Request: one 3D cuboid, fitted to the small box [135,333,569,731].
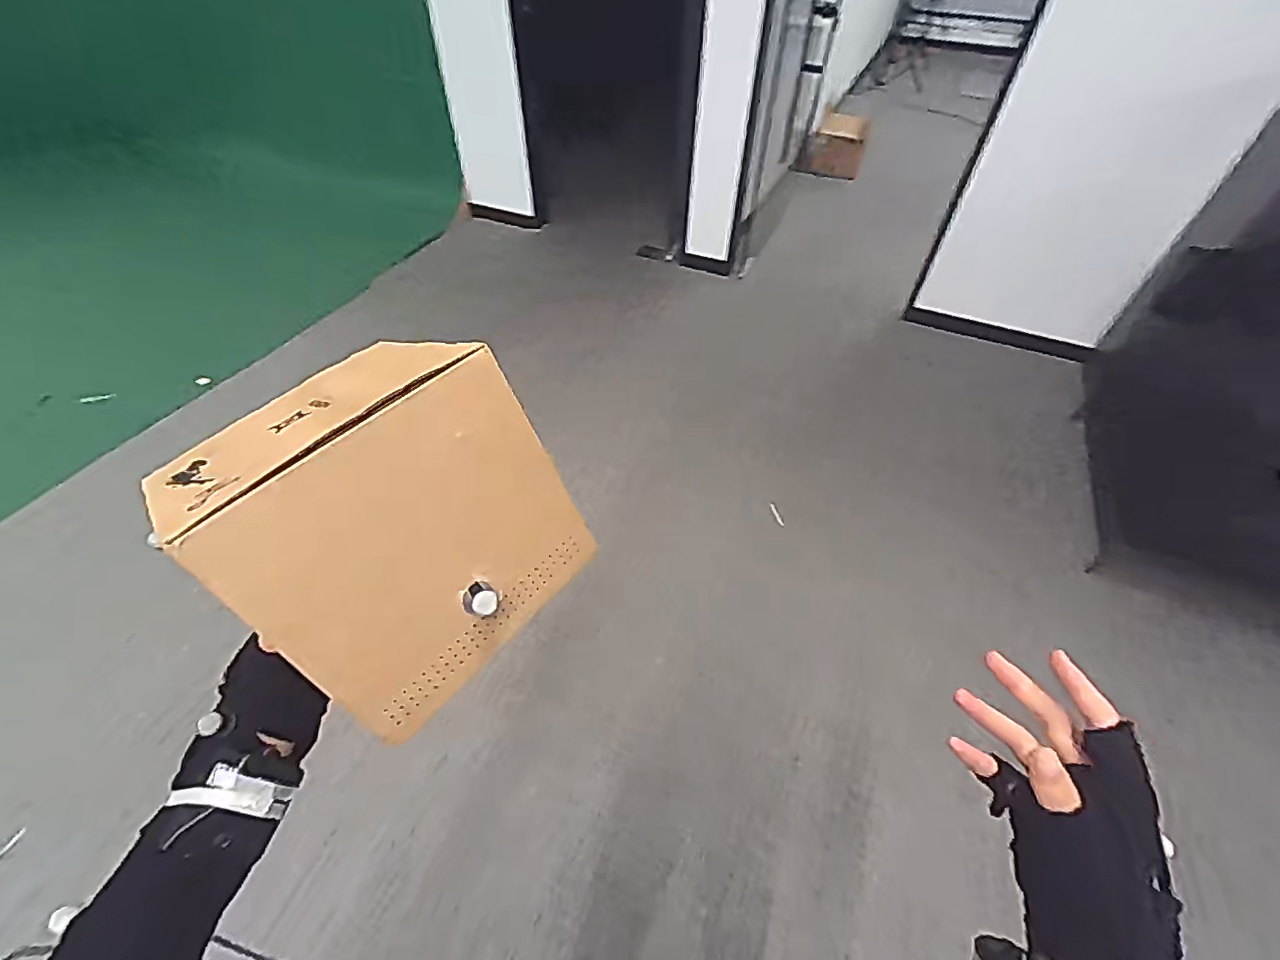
[{"bbox_3d":[-0.169,0.019,0.356,0.168,0.176,0.179,14,48,44],"label":"small box"}]
